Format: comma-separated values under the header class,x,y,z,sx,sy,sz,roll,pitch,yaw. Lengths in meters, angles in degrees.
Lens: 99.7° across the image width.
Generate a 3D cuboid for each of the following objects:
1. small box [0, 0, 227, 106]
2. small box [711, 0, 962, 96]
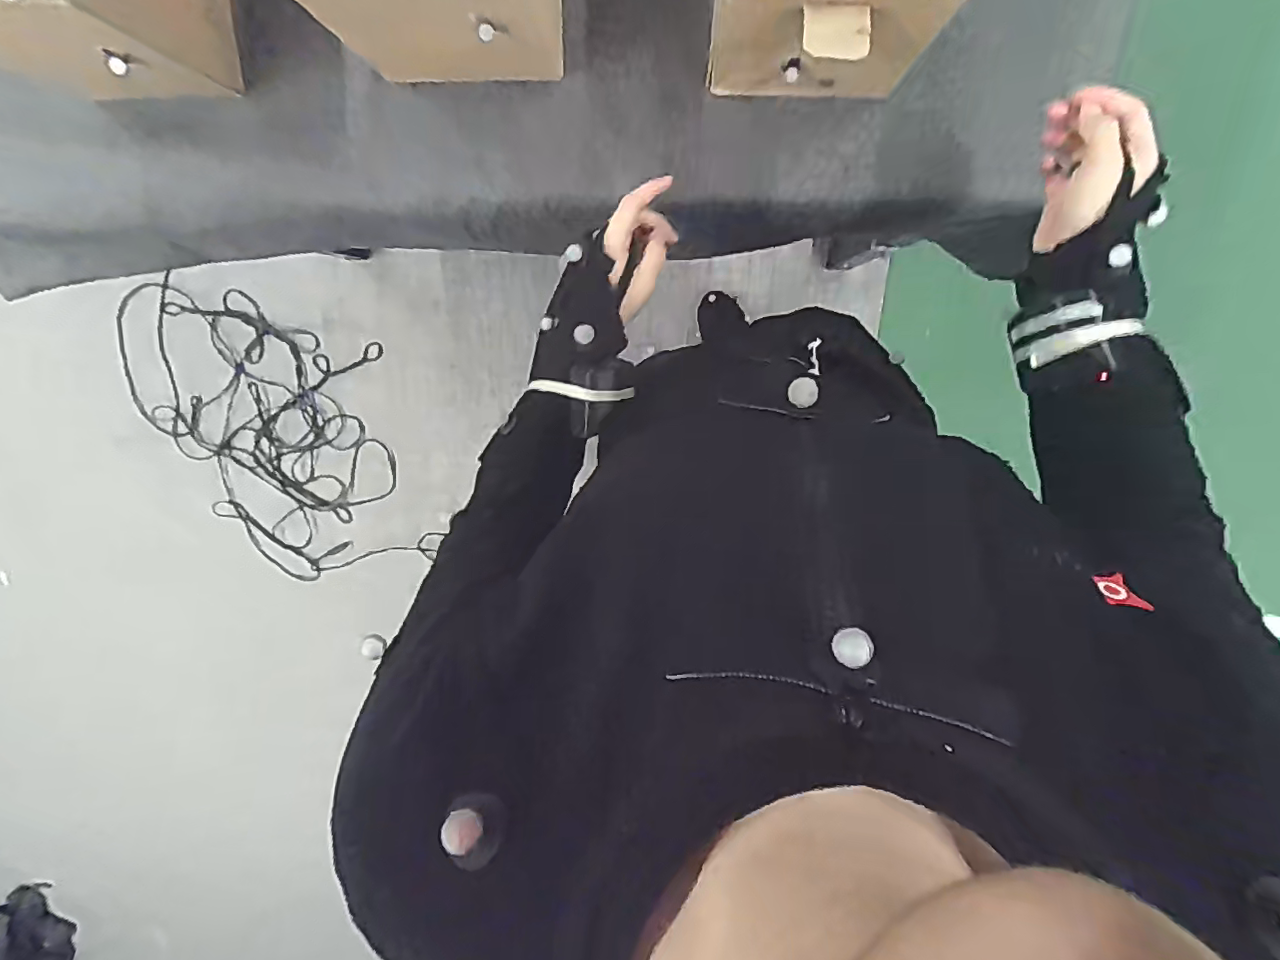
class,x,y,z,sx,sy,sz,roll,pitch,yaw
small box,-0.489,-0.440,0.451,0.179,0.176,0.168,1,104,5
small box,0.143,-0.424,0.404,0.168,0.176,0.179,4,106,4
